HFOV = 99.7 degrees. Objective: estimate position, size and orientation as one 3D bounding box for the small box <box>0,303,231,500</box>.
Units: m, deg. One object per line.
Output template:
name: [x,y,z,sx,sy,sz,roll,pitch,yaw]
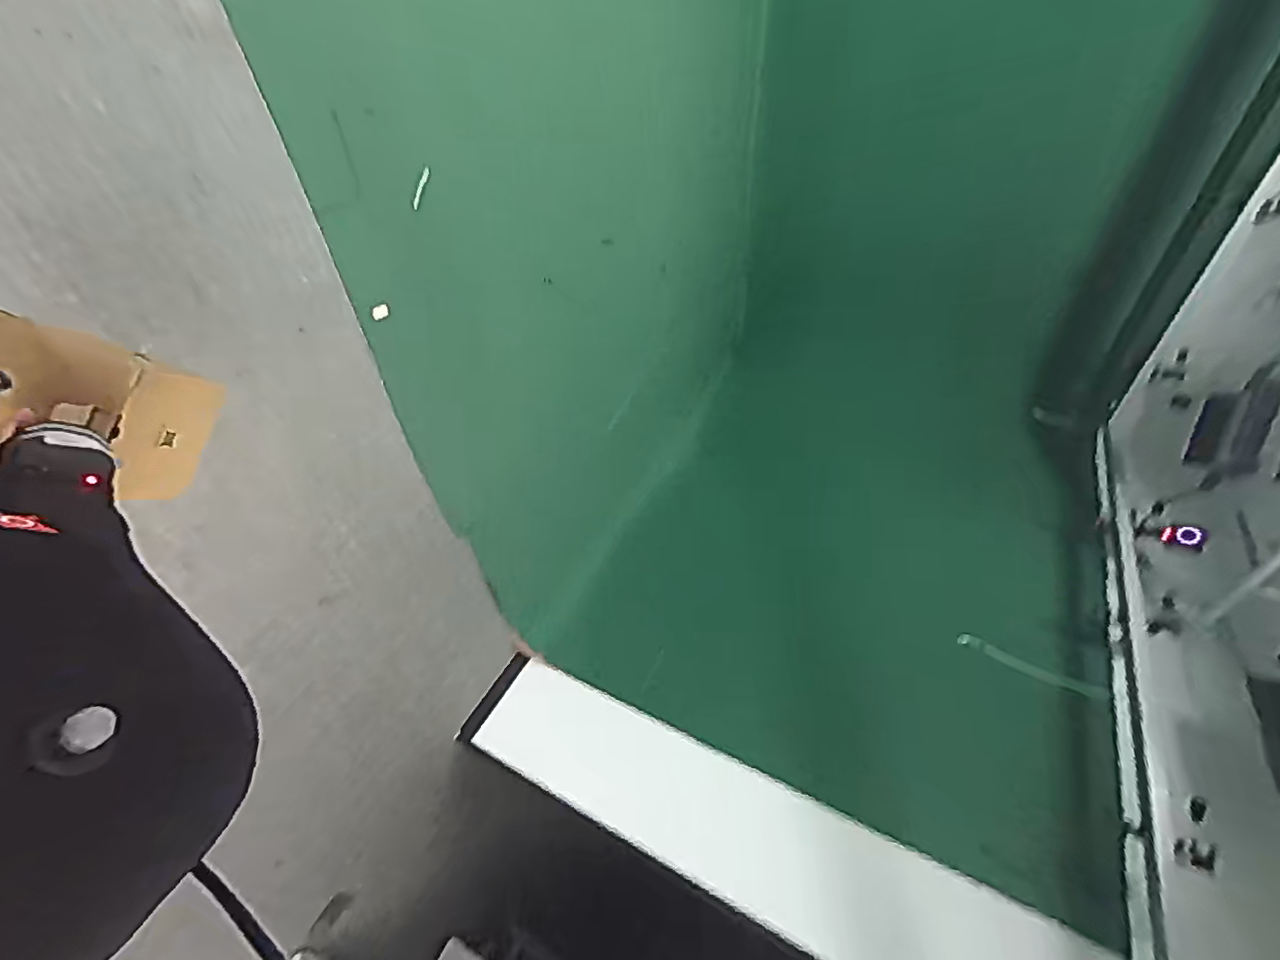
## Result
small box: [-0.642,-0.084,0.632,0.179,0.176,0.168,-174,-76,-79]
